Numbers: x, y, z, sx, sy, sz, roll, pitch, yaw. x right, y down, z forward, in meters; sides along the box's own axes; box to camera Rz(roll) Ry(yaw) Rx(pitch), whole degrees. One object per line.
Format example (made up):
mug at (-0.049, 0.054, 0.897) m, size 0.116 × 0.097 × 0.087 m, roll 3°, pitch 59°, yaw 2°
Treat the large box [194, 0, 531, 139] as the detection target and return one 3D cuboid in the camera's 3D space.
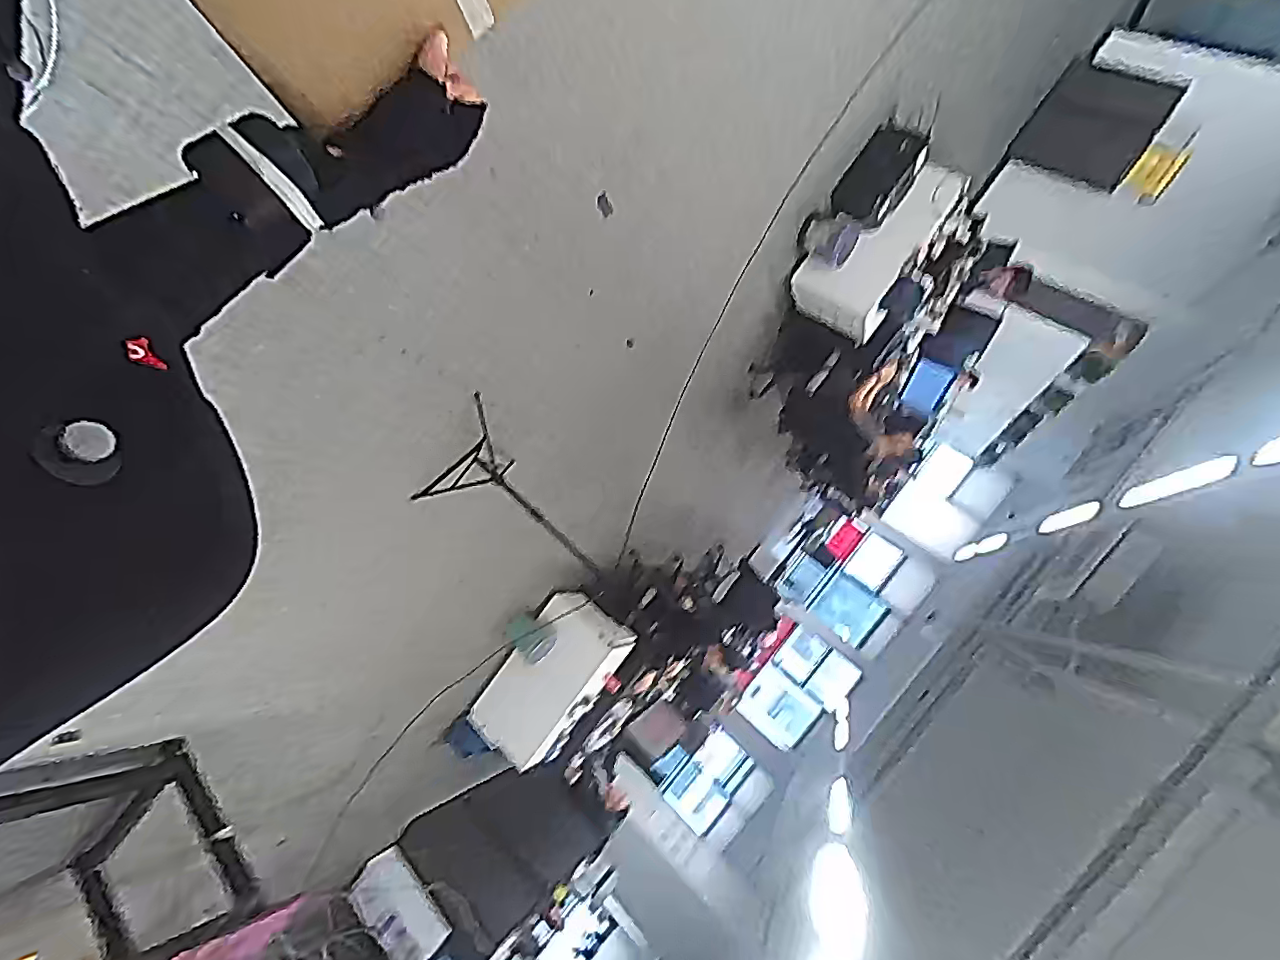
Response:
large box at (-0.254, -0.527, 0.301) m, size 0.320 × 0.320 × 0.408 m, roll -36°, pitch 159°, yaw -1°
